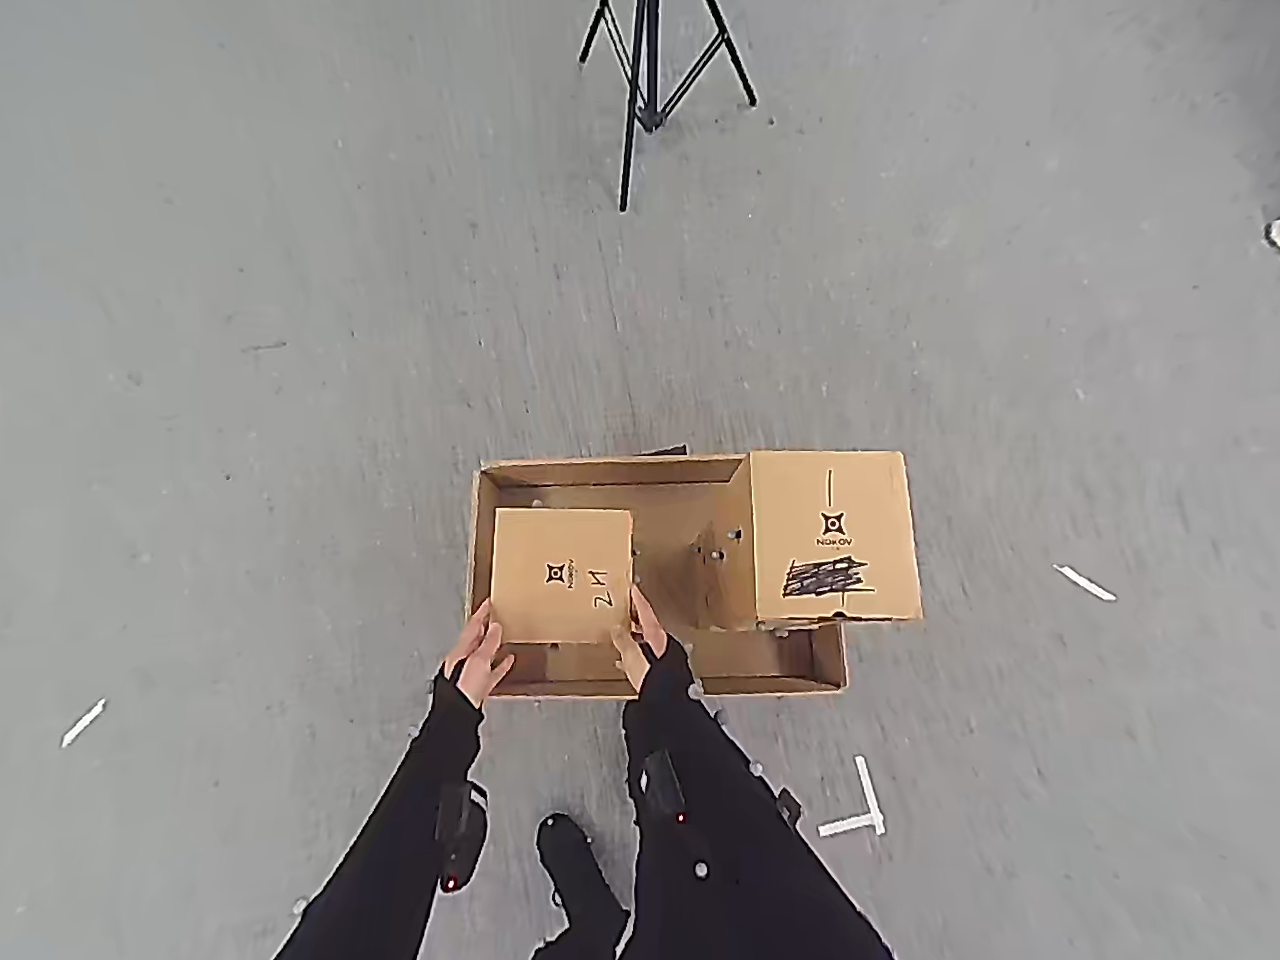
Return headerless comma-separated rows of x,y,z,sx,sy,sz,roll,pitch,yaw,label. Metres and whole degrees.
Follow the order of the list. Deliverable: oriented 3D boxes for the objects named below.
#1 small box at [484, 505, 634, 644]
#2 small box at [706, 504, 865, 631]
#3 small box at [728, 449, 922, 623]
-0.100,0.130,0.737,0.179,0.176,0.168,2,79,-3,small box
0.198,0.125,0.778,0.179,0.176,0.168,-3,76,-1,small box
0.195,0.071,0.622,0.168,0.176,0.179,0,75,1,small box
